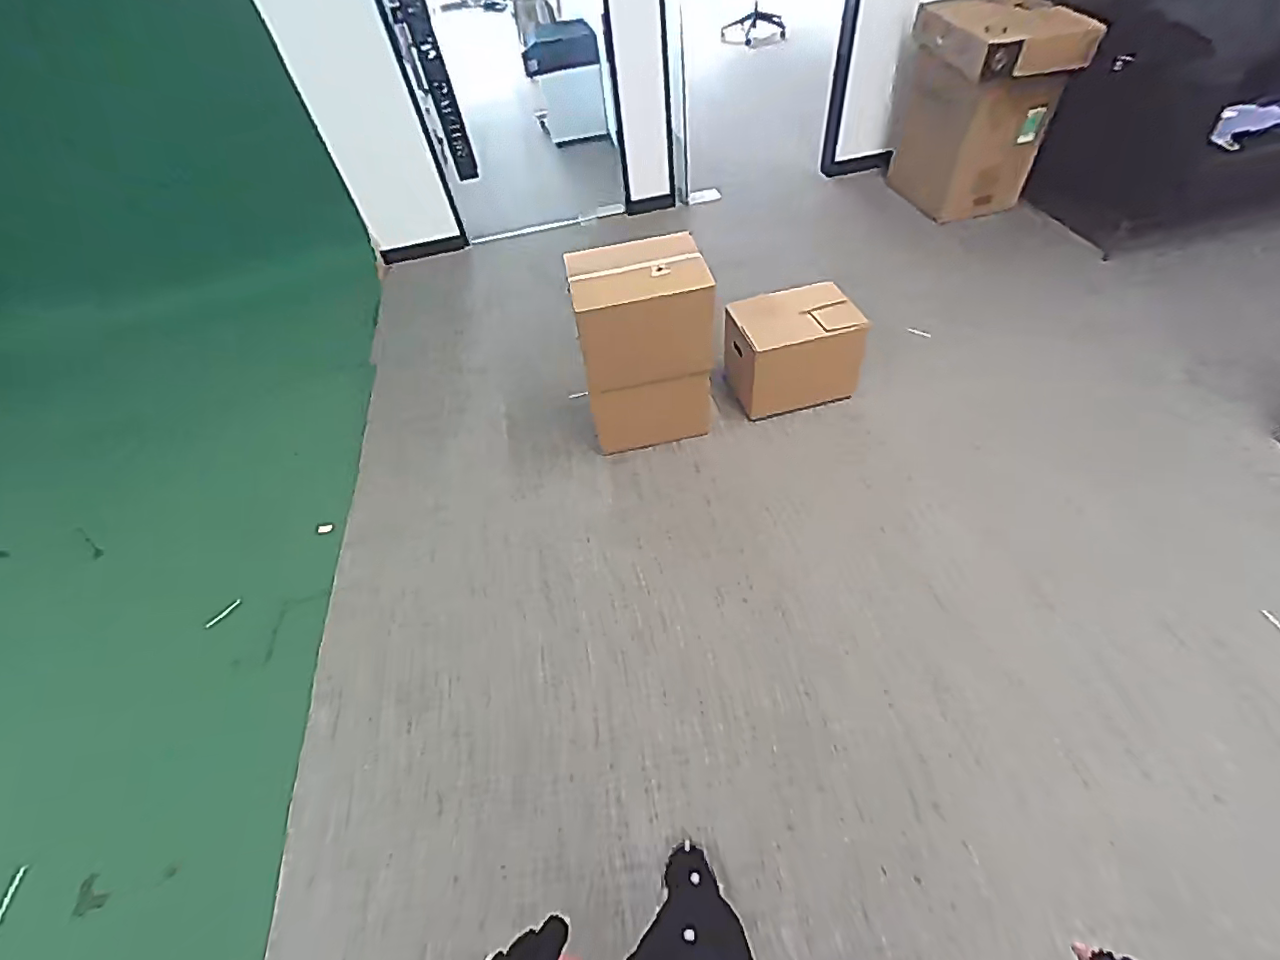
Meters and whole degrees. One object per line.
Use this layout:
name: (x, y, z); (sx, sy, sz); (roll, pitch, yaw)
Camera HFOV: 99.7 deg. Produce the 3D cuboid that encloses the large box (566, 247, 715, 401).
large box: (0.001, -0.491, 1.714); (0.408, 0.320, 0.320); (-11, 51, -3)
